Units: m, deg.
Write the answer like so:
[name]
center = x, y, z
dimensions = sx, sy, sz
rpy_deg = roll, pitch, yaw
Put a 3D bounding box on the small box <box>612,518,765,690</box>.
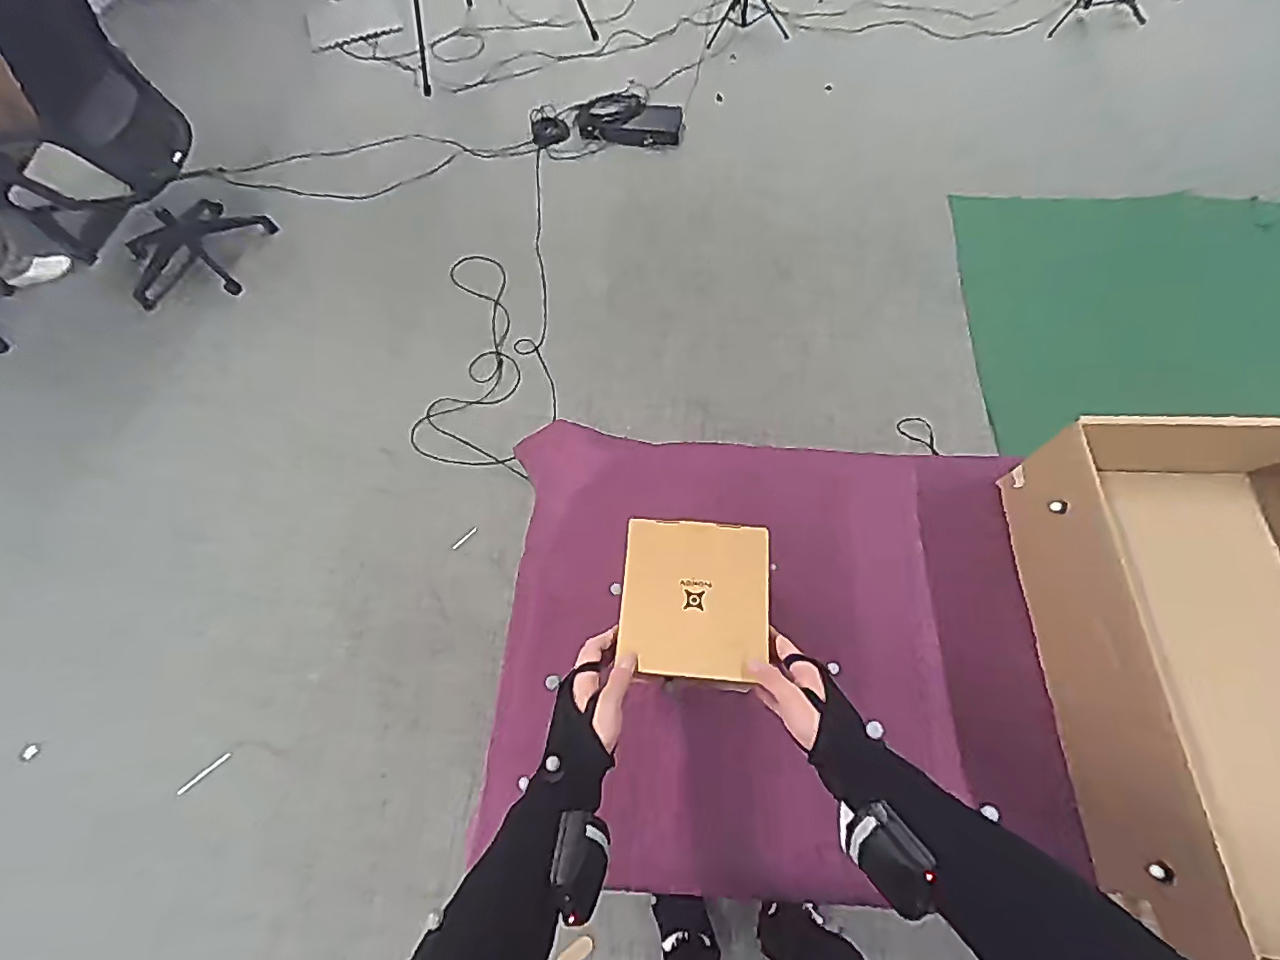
[small box]
center = 0.063, 0.162, 0.680
dimensions = 0.168, 0.176, 0.179
rpy_deg = 3, 65, 5
